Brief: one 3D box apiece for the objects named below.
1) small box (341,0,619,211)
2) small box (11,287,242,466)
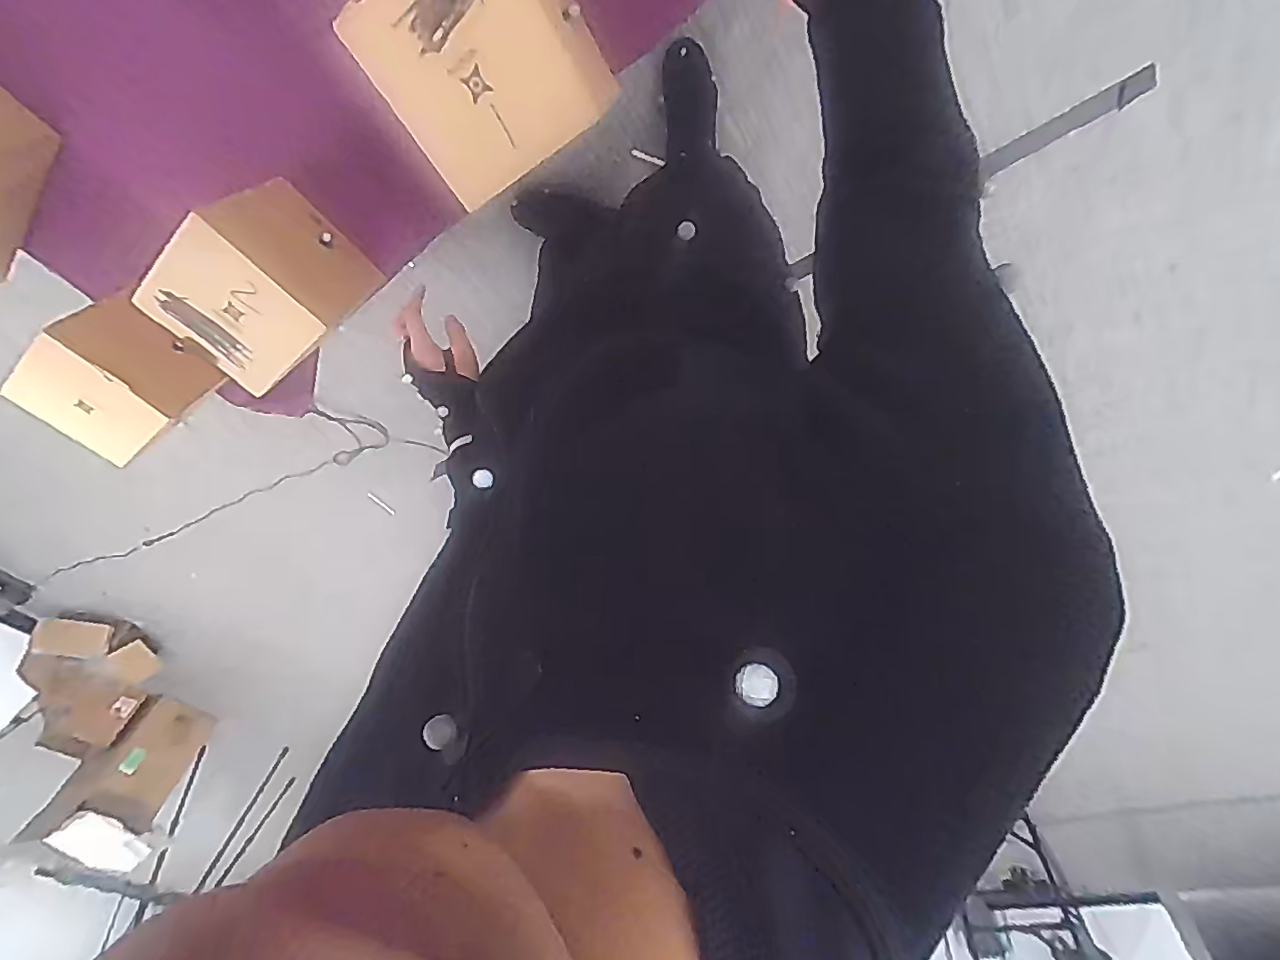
[{"bbox_3d":[-0.138,-0.409,0.533,0.168,0.176,0.179,-21,127,24],"label":"small box"},{"bbox_3d":[-0.766,-0.159,0.826,0.179,0.176,0.168,-26,124,25],"label":"small box"}]
